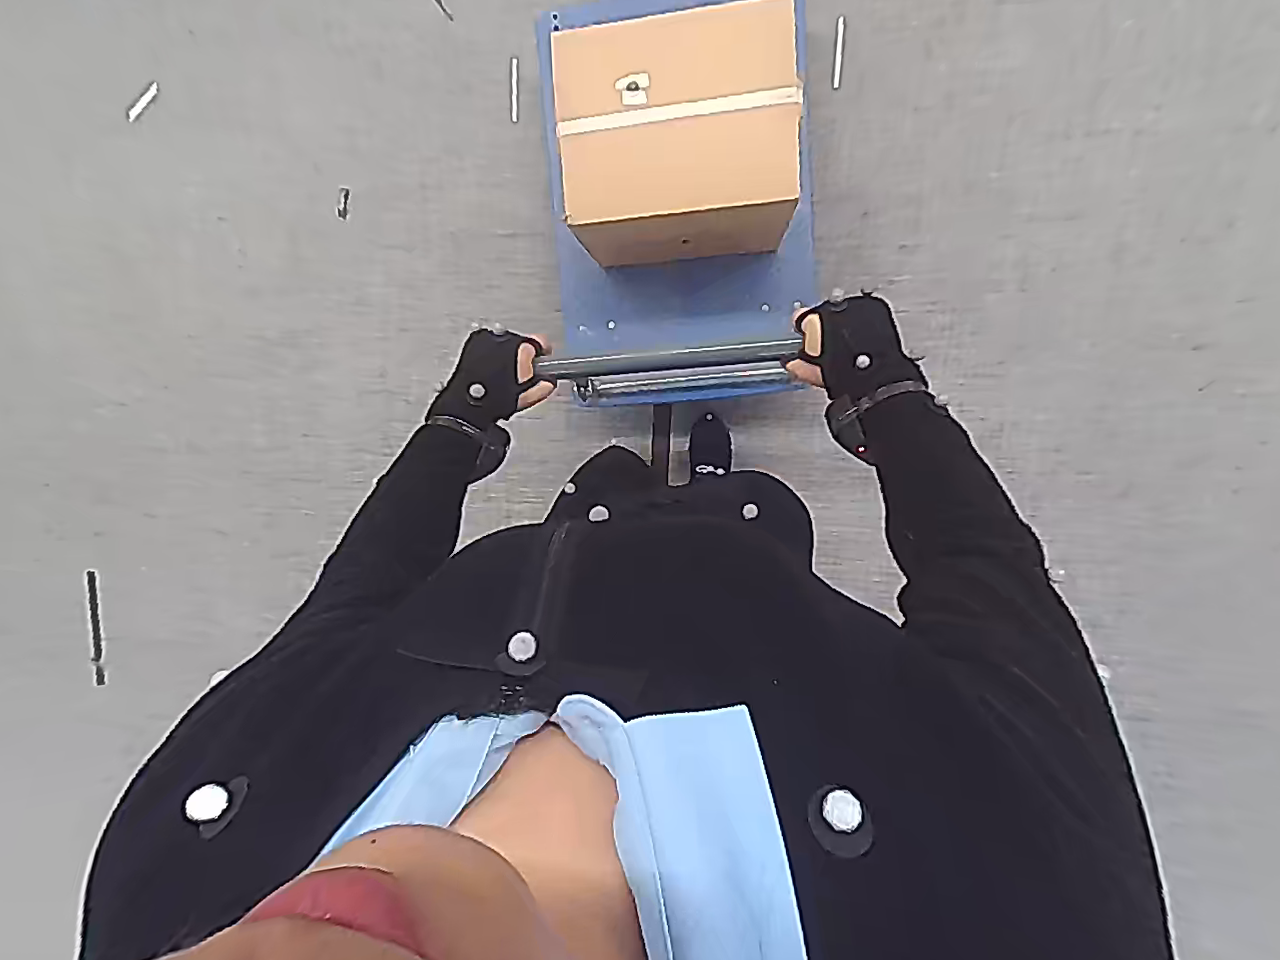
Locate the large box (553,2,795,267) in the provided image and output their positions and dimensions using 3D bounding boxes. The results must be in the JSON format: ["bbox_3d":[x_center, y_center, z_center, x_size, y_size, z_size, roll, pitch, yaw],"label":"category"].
[{"bbox_3d":[0.077,-0.635,1.070,0.408,0.320,0.320,-3,97,8],"label":"large box"}]
